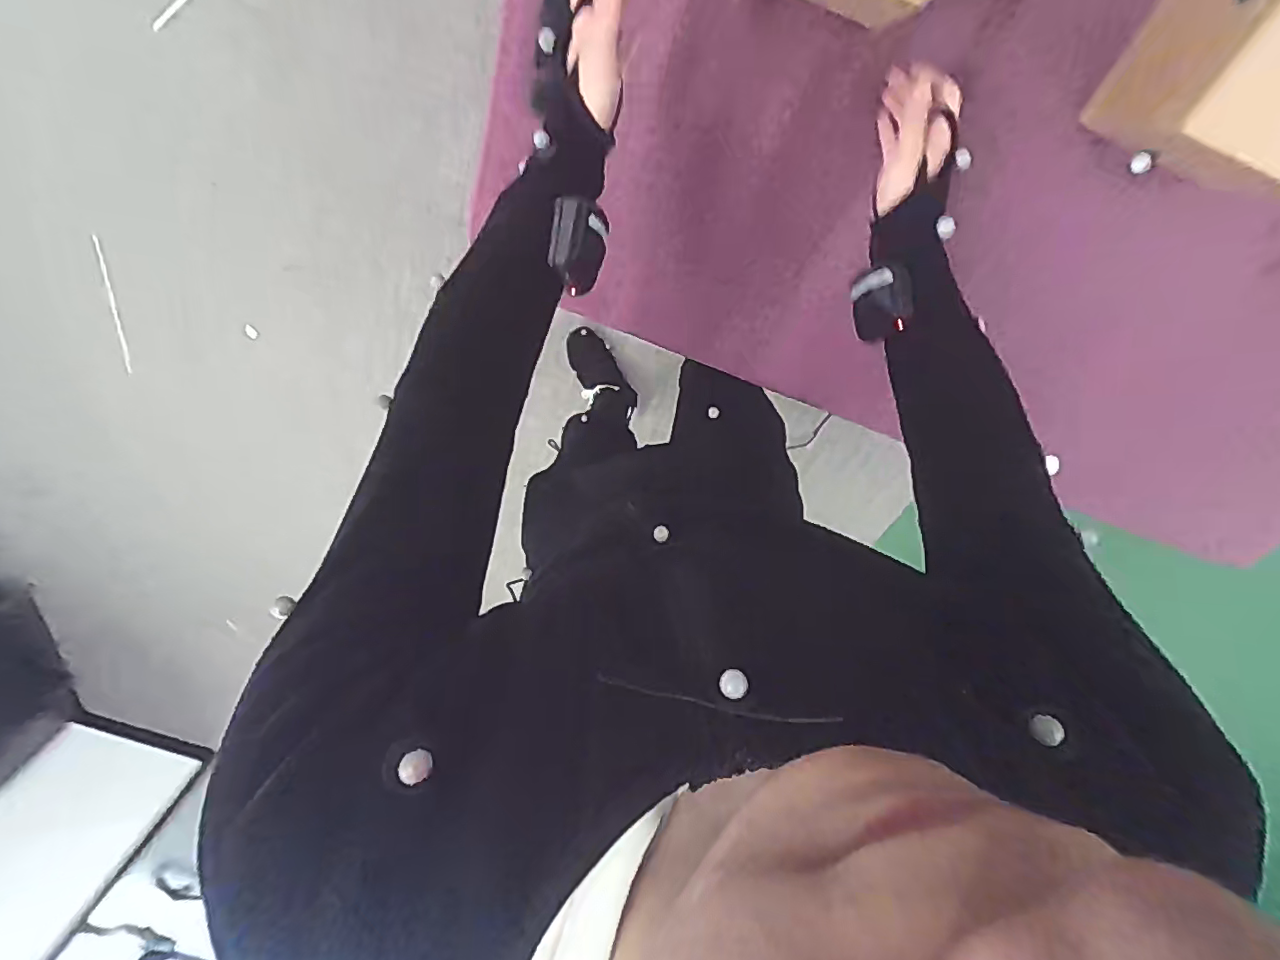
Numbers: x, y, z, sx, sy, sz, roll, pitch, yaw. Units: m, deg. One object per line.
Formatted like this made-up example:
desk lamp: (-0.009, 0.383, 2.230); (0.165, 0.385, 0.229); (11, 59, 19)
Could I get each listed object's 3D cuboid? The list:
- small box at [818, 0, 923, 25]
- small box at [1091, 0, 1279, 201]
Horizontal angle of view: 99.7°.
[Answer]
small box: (0.172, -0.482, 0.405); (0.168, 0.176, 0.179); (21, 125, -3)
small box: (0.530, -0.346, 0.433); (0.168, 0.176, 0.179); (22, 126, -4)
